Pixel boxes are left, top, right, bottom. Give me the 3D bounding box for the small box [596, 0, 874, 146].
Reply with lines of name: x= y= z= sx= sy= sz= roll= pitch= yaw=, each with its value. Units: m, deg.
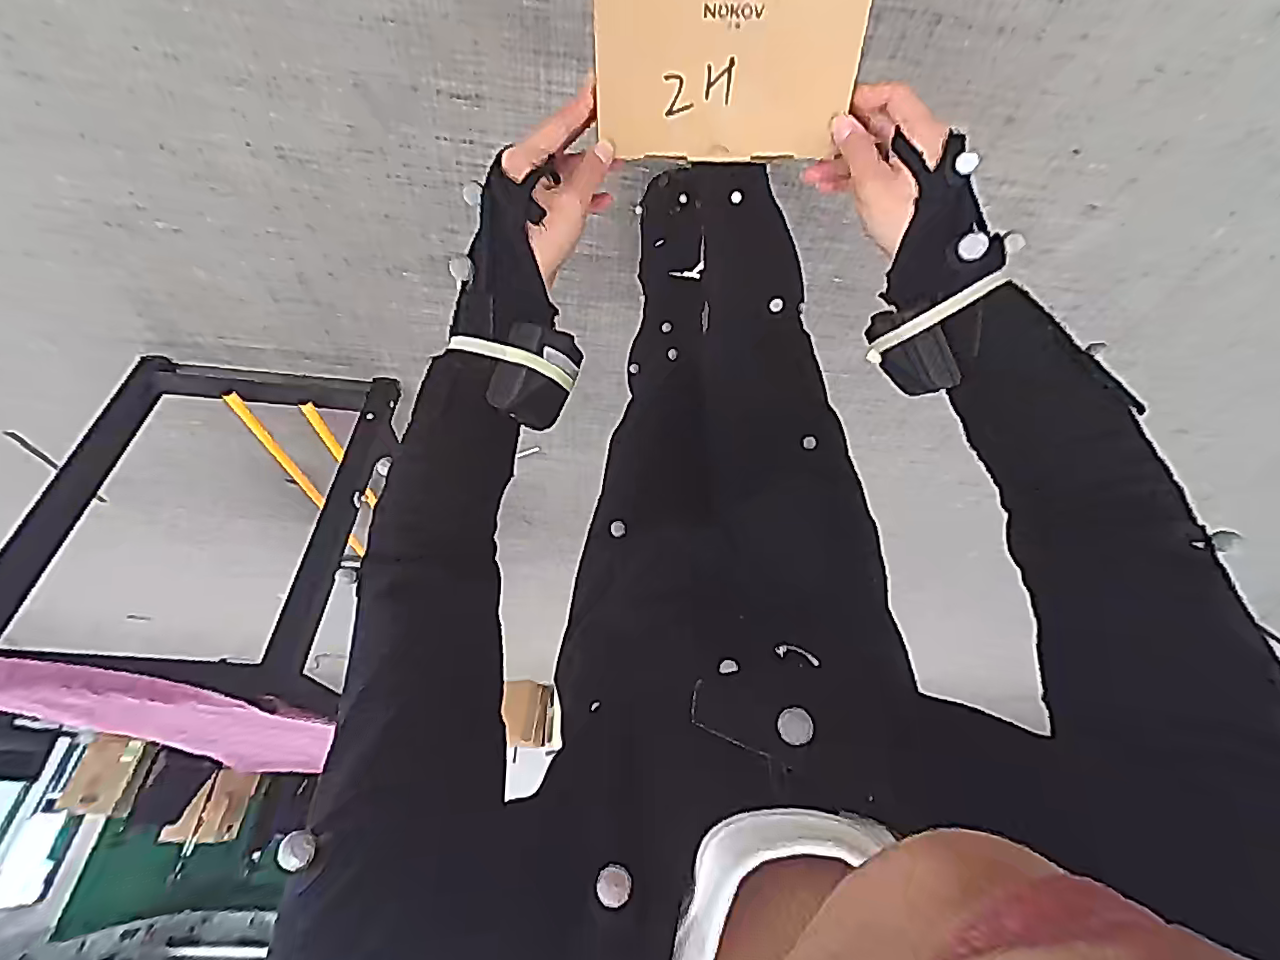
small box: x=0.053 y=-0.342 z=0.367 sx=0.168 sy=0.176 sz=0.179 roll=-1 pitch=131 yaw=-2
